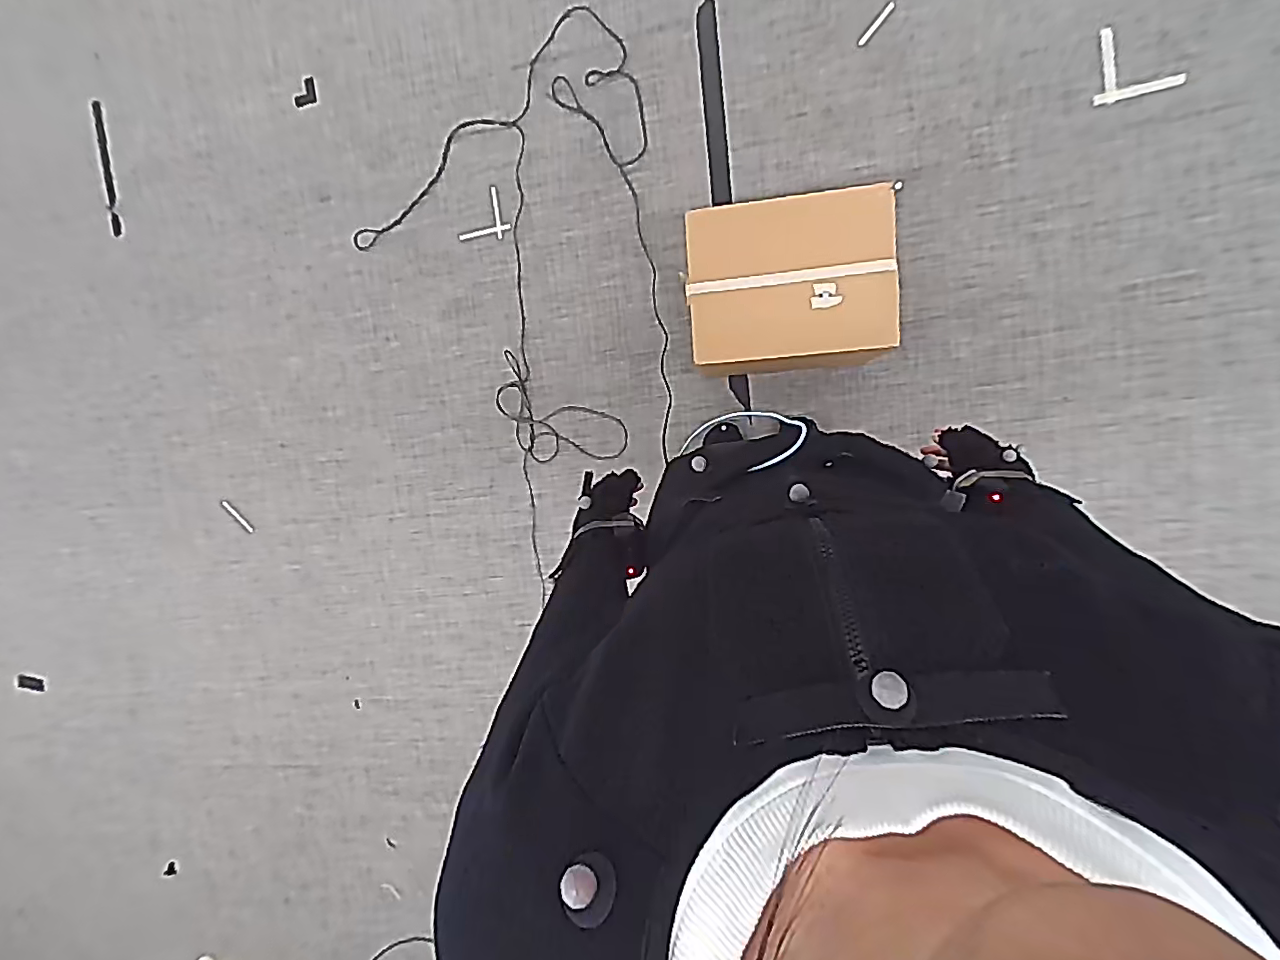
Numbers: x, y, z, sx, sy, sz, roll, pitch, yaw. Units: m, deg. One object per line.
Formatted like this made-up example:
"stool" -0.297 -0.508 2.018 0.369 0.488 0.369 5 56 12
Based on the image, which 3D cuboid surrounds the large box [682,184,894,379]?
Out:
"large box" 0.316 -0.420 1.236 0.408 0.320 0.320 -4 95 9
